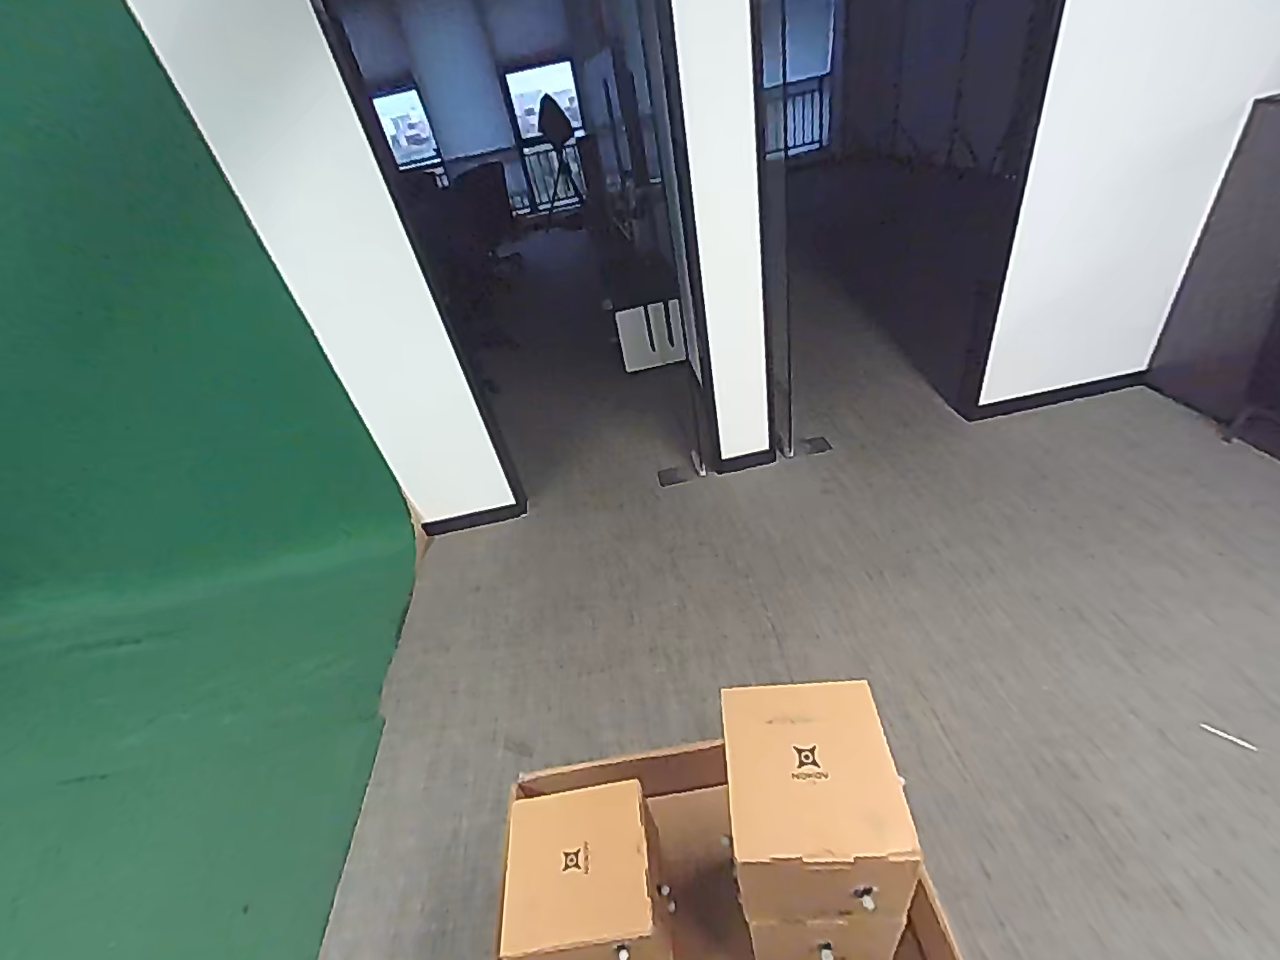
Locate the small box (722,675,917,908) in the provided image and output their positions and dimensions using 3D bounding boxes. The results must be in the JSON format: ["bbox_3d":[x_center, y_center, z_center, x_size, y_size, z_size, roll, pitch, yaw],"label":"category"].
[{"bbox_3d":[0.185,0.343,0.595,0.168,0.176,0.179,-7,36,9],"label":"small box"}]

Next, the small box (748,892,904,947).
[{"bbox_3d":[0.219,0.472,0.692,0.168,0.176,0.179,-8,38,7],"label":"small box"}]

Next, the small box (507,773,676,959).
[{"bbox_3d":[-0.059,0.524,0.716,0.179,0.176,0.168,-11,36,1],"label":"small box"}]
